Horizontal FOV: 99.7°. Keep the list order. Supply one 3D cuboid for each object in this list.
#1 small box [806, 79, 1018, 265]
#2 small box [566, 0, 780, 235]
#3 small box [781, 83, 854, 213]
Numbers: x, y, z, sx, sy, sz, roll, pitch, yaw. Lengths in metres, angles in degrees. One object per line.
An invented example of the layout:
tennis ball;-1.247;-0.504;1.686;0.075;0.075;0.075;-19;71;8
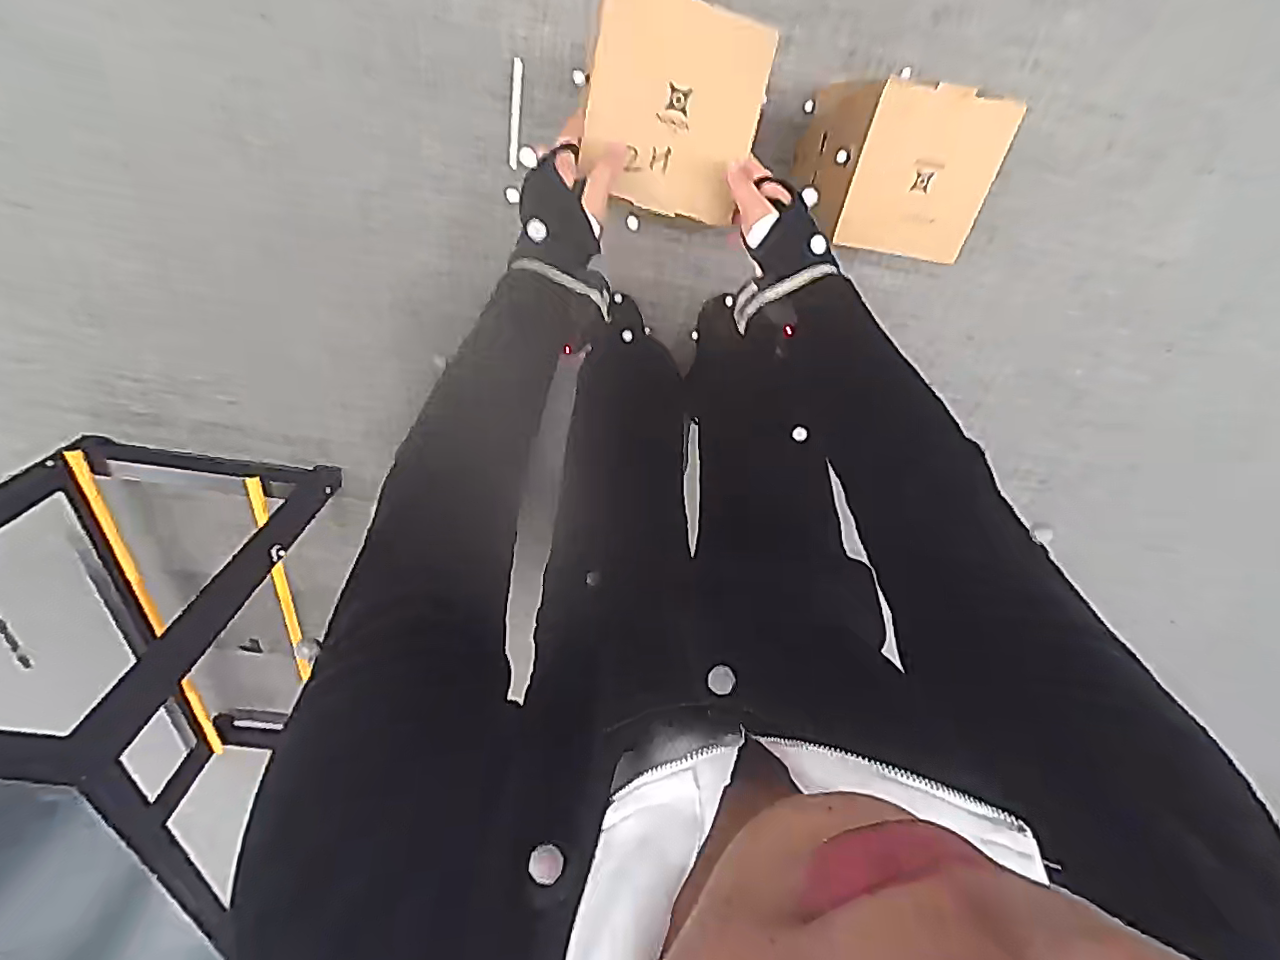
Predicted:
small box;0.334;-0.406;0.712;0.168;0.176;0.179;8;126;-3
small box;0.018;-0.374;0.576;0.168;0.176;0.179;8;111;-15
small box;0.341;-0.496;0.847;0.179;0.176;0.168;11;124;-8
